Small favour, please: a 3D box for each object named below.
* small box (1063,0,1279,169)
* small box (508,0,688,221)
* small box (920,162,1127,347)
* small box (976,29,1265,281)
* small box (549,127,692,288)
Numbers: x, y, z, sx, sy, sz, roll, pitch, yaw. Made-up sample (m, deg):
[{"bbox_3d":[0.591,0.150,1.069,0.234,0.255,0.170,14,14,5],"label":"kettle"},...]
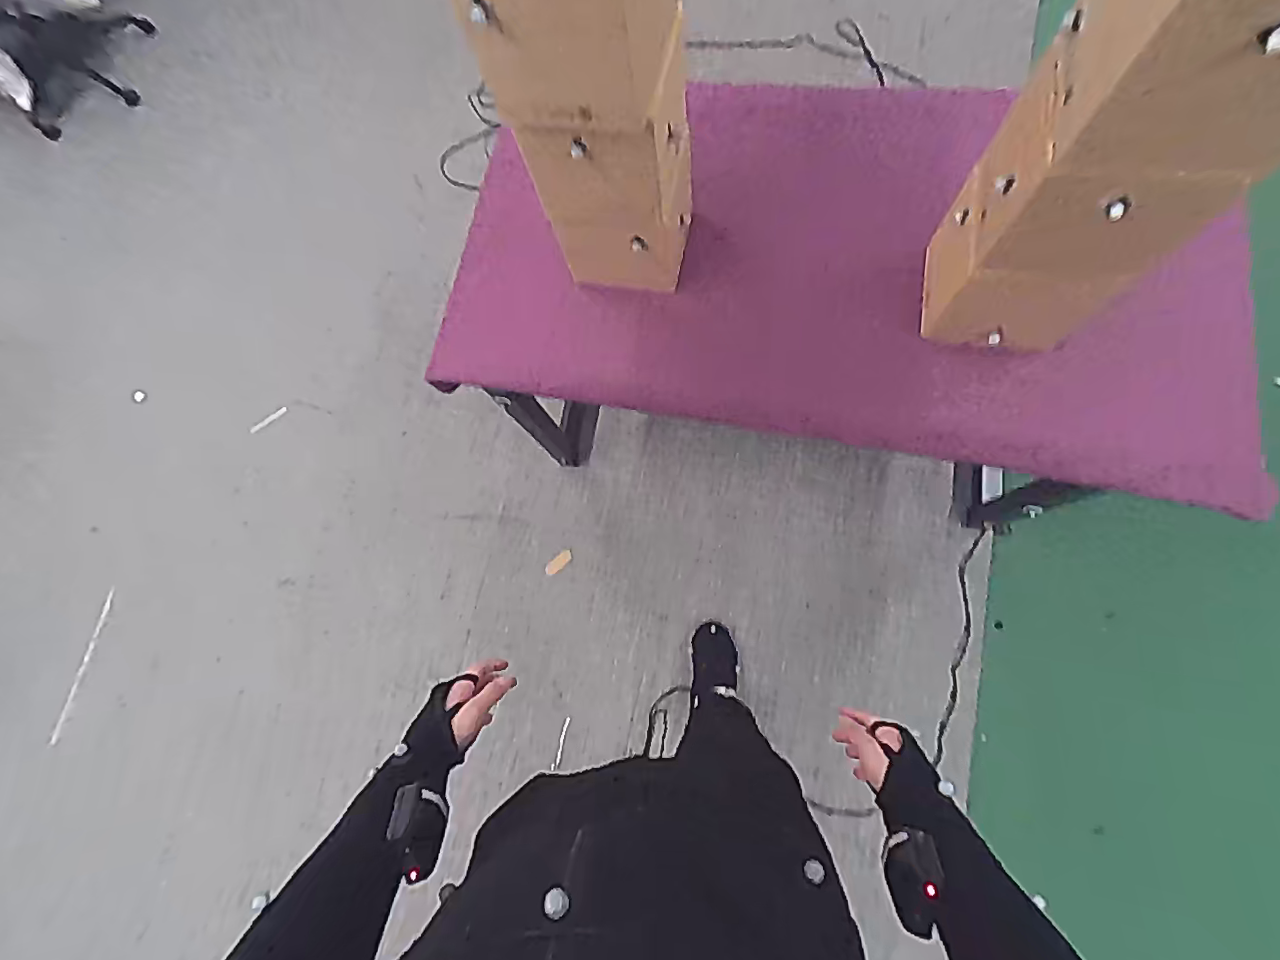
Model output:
[{"bbox_3d":[0.477,-0.377,0.427,0.179,0.176,0.168,9,79,10],"label":"small box"},{"bbox_3d":[-0.039,-0.455,0.683,0.179,0.176,0.168,10,79,10],"label":"small box"},{"bbox_3d":[0.514,-0.299,0.742,0.179,0.176,0.168,9,77,9],"label":"small box"},{"bbox_3d":[0.495,-0.338,0.585,0.179,0.176,0.168,10,79,10],"label":"small box"},{"bbox_3d":[-0.019,-0.421,0.840,0.179,0.176,0.168,11,78,9],"label":"small box"}]
